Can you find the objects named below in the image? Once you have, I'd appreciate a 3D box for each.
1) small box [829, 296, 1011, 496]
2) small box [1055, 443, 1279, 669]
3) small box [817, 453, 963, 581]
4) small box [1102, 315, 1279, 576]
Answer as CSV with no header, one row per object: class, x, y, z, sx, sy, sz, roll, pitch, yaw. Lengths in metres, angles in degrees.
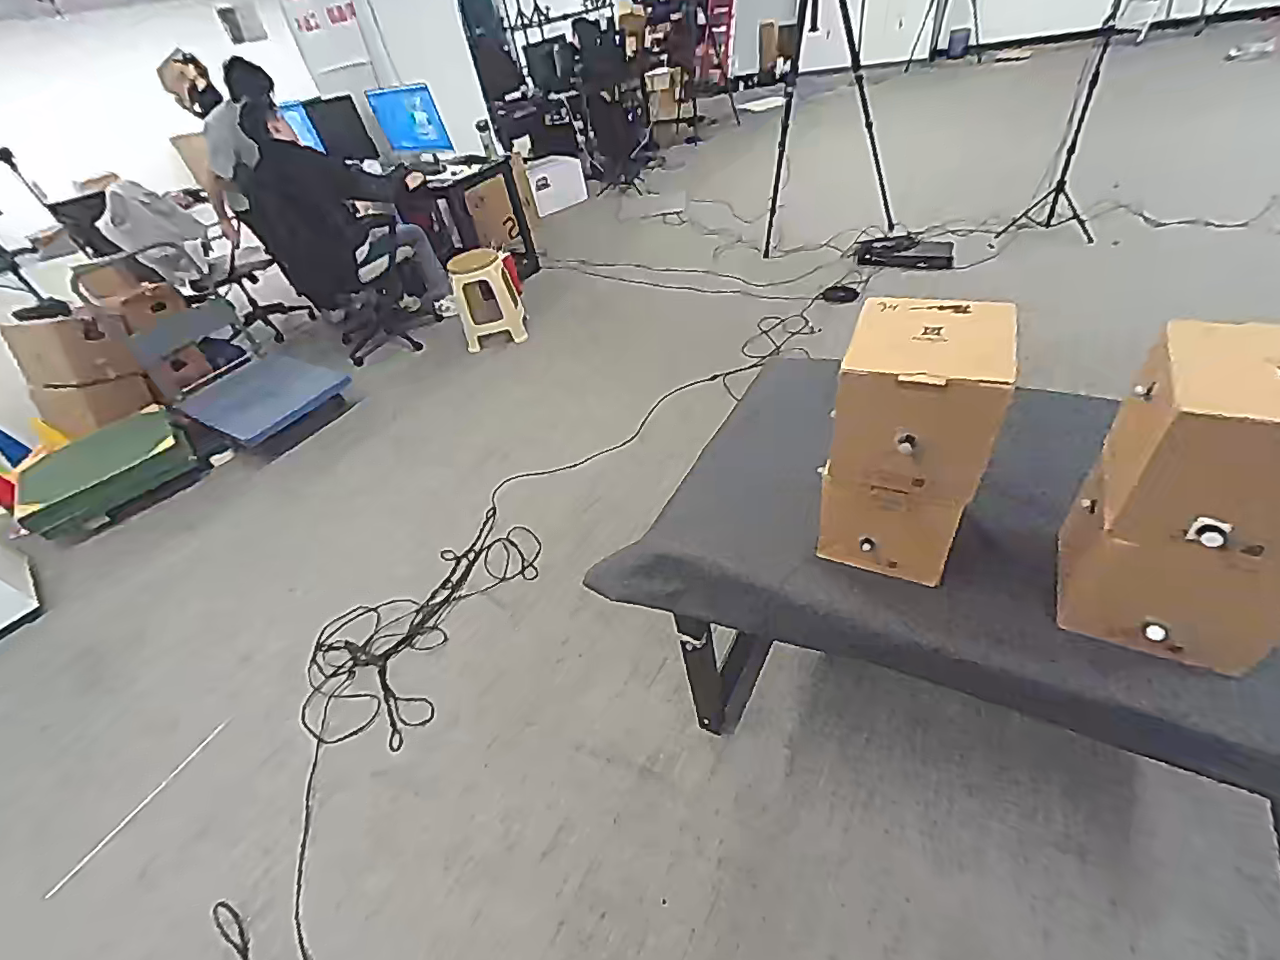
small box,0.332,-0.105,0.659,0.168,0.176,0.179,12,48,25
small box,0.609,0.082,0.628,0.168,0.176,0.179,14,48,27
small box,0.356,0.012,0.772,0.168,0.176,0.179,13,48,26
small box,0.579,-0.038,0.523,0.168,0.176,0.179,14,48,29
